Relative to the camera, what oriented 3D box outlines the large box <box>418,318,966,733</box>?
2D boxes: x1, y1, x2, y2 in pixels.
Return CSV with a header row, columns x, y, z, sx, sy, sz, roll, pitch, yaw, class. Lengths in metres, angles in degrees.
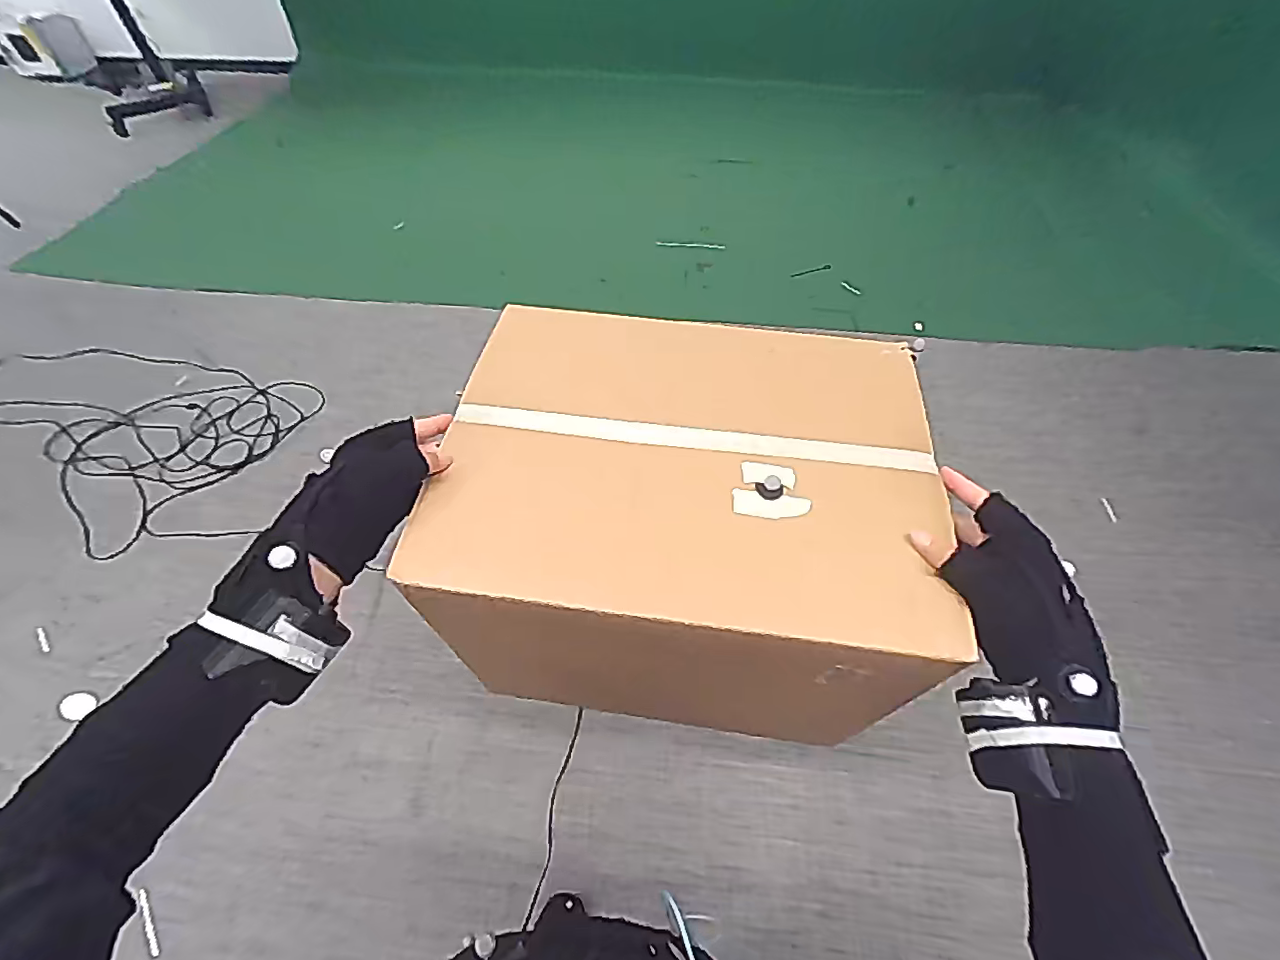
x,y,z,sx,sy,sz,roll,pitch,yaw,class
0.045,0.059,0.590,0.408,0.320,0.320,7,55,3,large box
